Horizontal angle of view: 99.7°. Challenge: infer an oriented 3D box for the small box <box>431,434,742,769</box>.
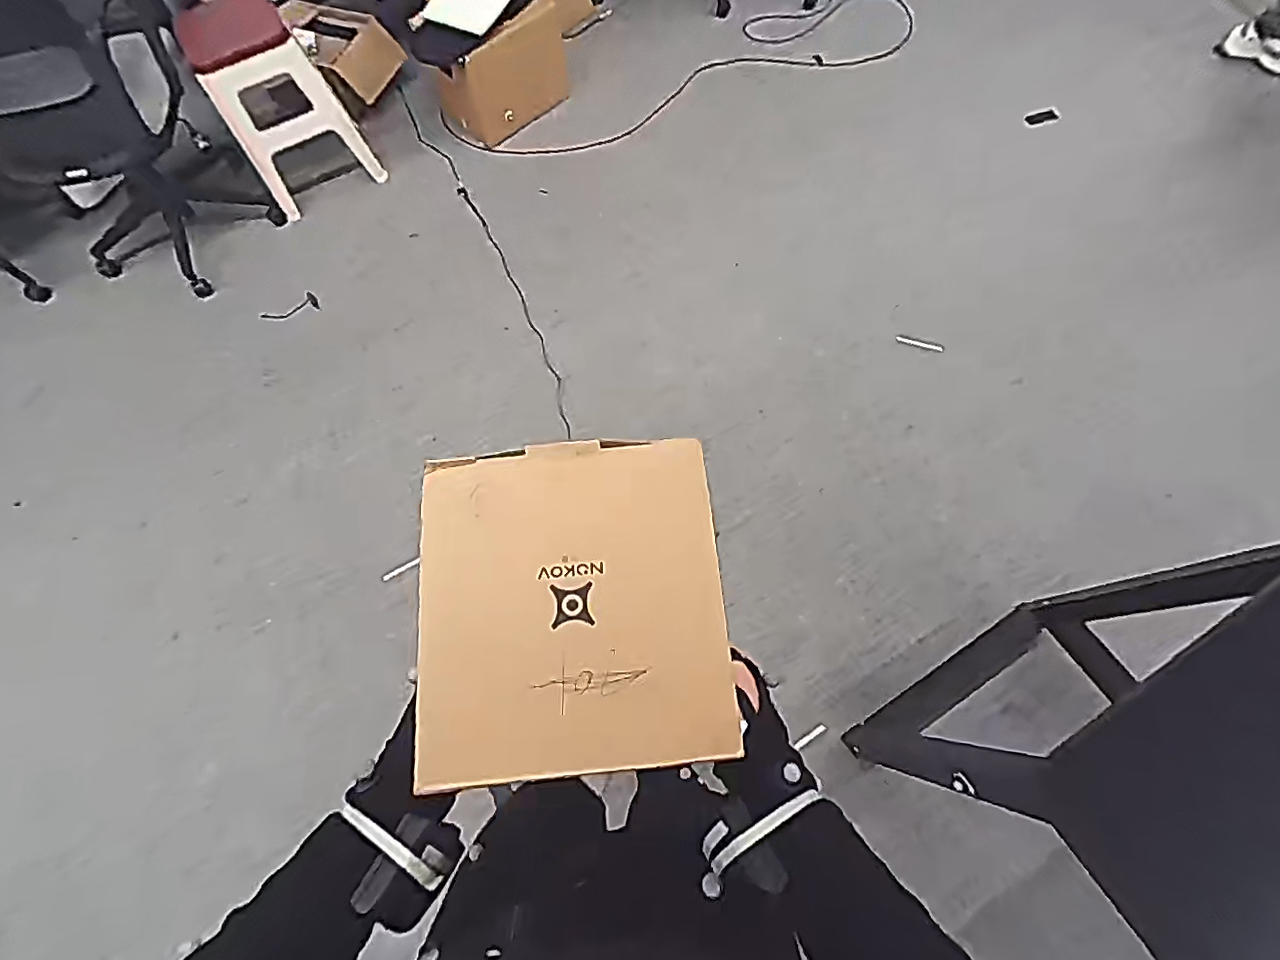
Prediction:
[{"bbox_3d":[-0.036,0.083,0.382,0.168,0.176,0.179,-6,74,-2],"label":"small box"}]
